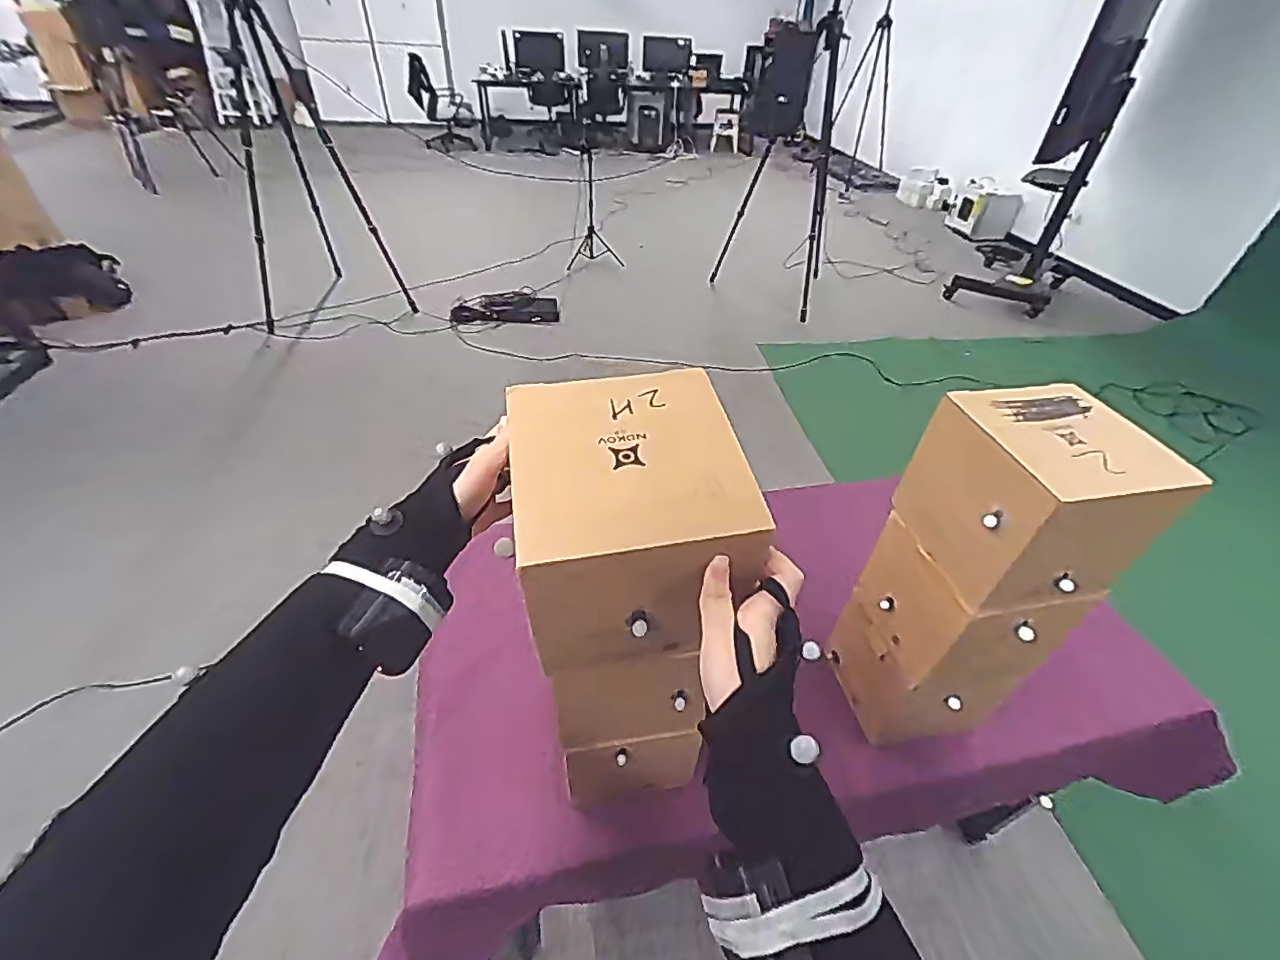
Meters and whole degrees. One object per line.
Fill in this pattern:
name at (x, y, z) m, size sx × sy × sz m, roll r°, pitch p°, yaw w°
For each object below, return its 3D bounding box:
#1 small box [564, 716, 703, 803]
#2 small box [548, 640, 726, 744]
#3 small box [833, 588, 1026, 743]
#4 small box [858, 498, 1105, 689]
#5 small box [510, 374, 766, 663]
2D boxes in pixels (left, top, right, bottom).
small box at (-0.022, 0.306, 0.736) m, size 0.168 × 0.176 × 0.179 m, roll -5°, pitch 41°, yaw -8°
small box at (-0.015, 0.183, 0.628) m, size 0.179 × 0.176 × 0.168 m, roll -4°, pitch 42°, yaw -7°
small box at (0.407, 0.268, 0.804) m, size 0.179 × 0.176 × 0.168 m, roll -5°, pitch 42°, yaw -10°
small box at (0.417, 0.146, 0.697) m, size 0.179 × 0.176 × 0.168 m, roll -6°, pitch 43°, yaw -9°
small box at (-0.013, 0.037, 0.452) m, size 0.168 × 0.176 × 0.179 m, roll -6°, pitch 48°, yaw -9°
